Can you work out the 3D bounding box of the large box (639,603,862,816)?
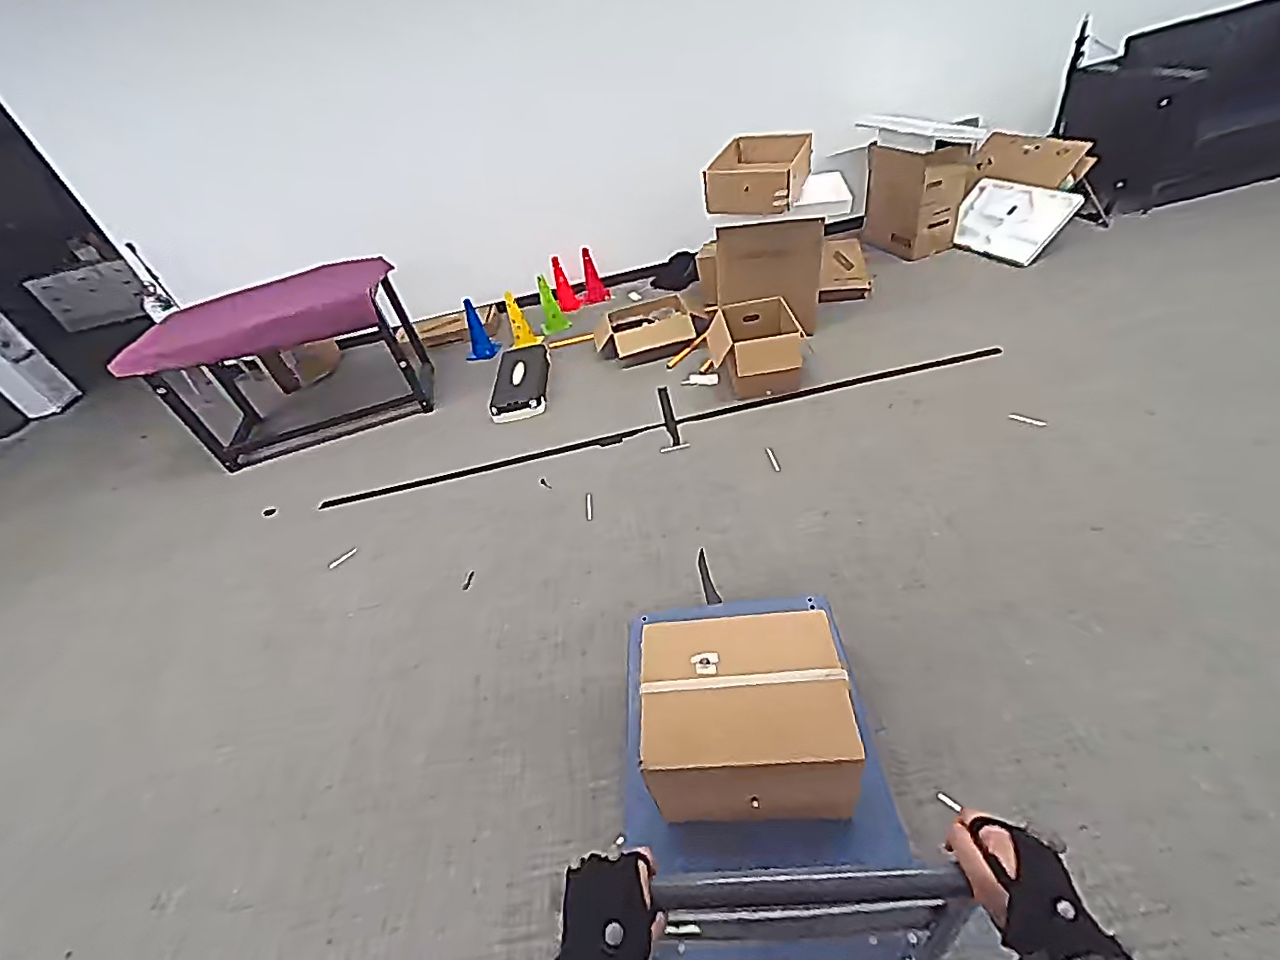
[{"bbox_3d":[0.226,0.503,1.175,0.408,0.320,0.320,-8,40,8],"label":"large box"}]
